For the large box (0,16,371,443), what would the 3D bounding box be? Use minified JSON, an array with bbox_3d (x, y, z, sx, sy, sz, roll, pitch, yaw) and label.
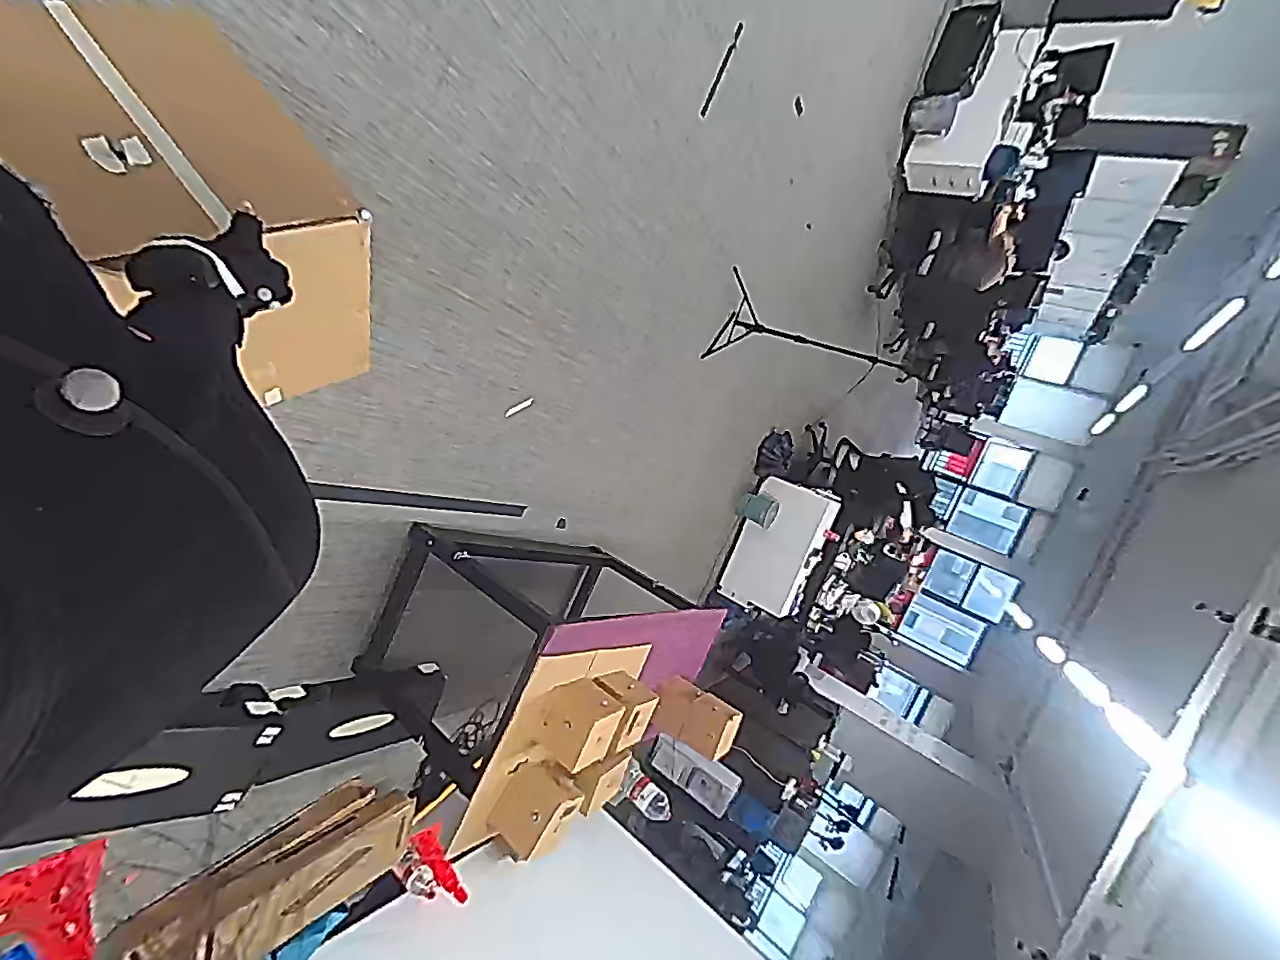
[{"bbox_3d":[-0.634,-0.332,0.746,0.320,0.408,0.320,-35,172,-36],"label":"large box"}]
